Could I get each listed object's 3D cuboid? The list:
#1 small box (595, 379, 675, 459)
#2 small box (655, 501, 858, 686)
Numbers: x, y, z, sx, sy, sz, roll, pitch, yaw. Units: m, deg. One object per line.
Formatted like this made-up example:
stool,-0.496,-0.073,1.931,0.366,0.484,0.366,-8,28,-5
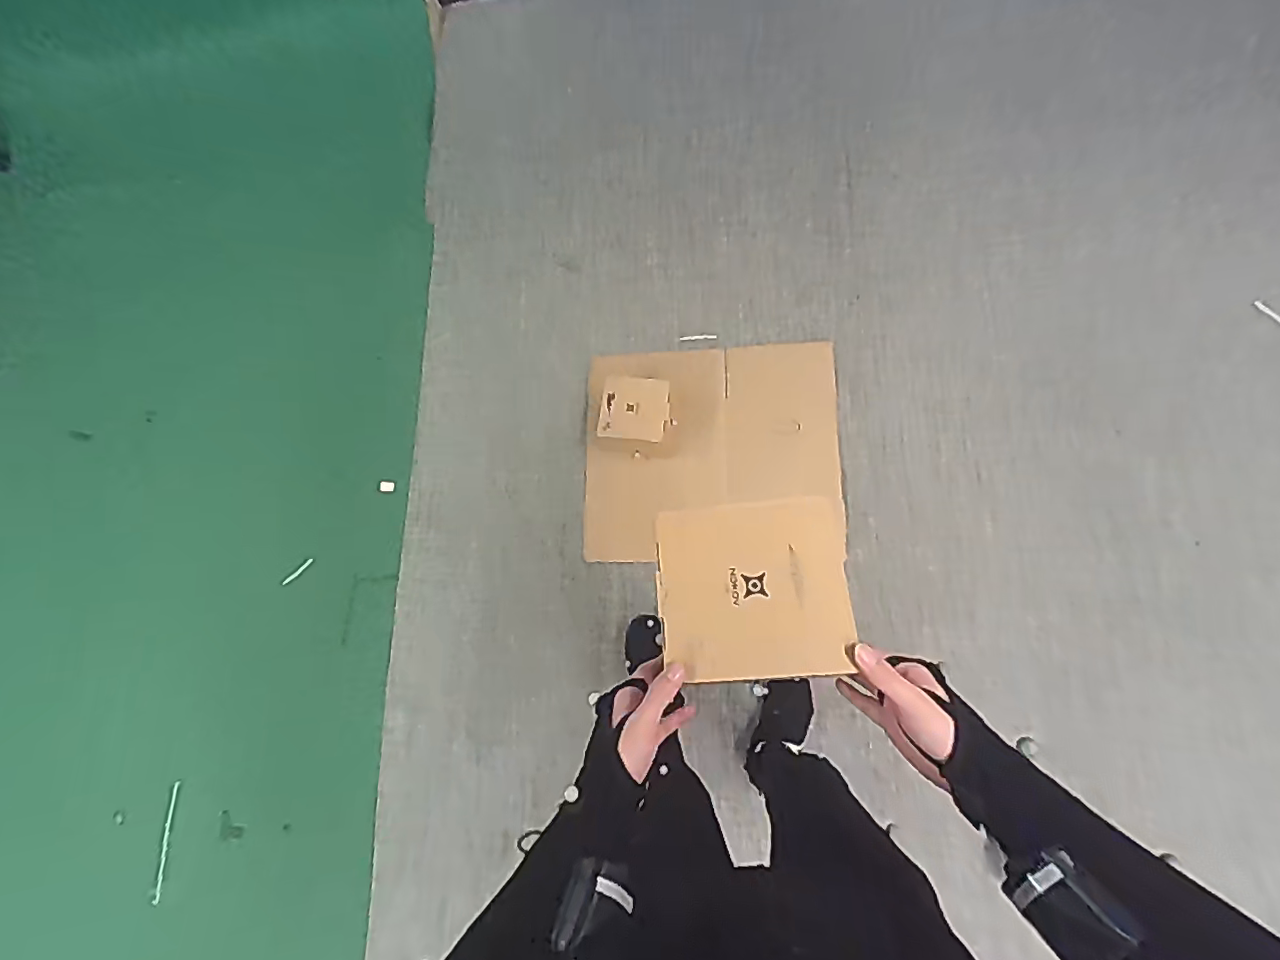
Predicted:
small box,-0.005,-0.158,1.457,0.179,0.176,0.168,7,79,11
small box,0.116,0.132,0.584,0.179,0.176,0.168,-5,69,7
